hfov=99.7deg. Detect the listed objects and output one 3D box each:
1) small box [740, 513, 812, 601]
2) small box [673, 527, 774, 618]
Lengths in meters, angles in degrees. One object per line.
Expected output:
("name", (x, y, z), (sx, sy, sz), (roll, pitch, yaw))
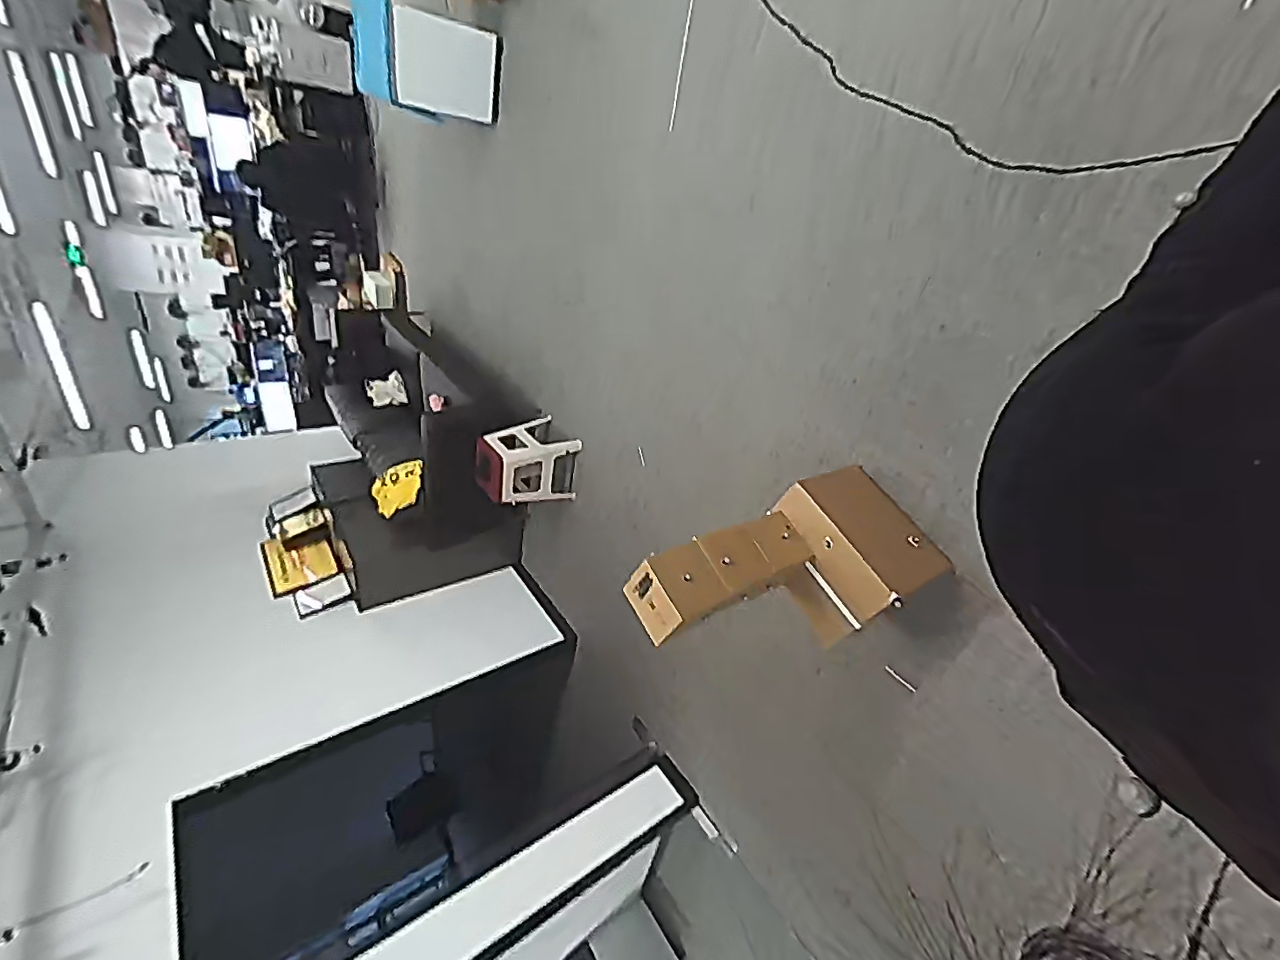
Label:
("small box", (0.360, 0.220, 1.560), (0.168, 0.176, 0.179), (57, 141, 26))
("small box", (0.226, 0.244, 1.472), (0.179, 0.176, 0.168), (57, 141, 25))
